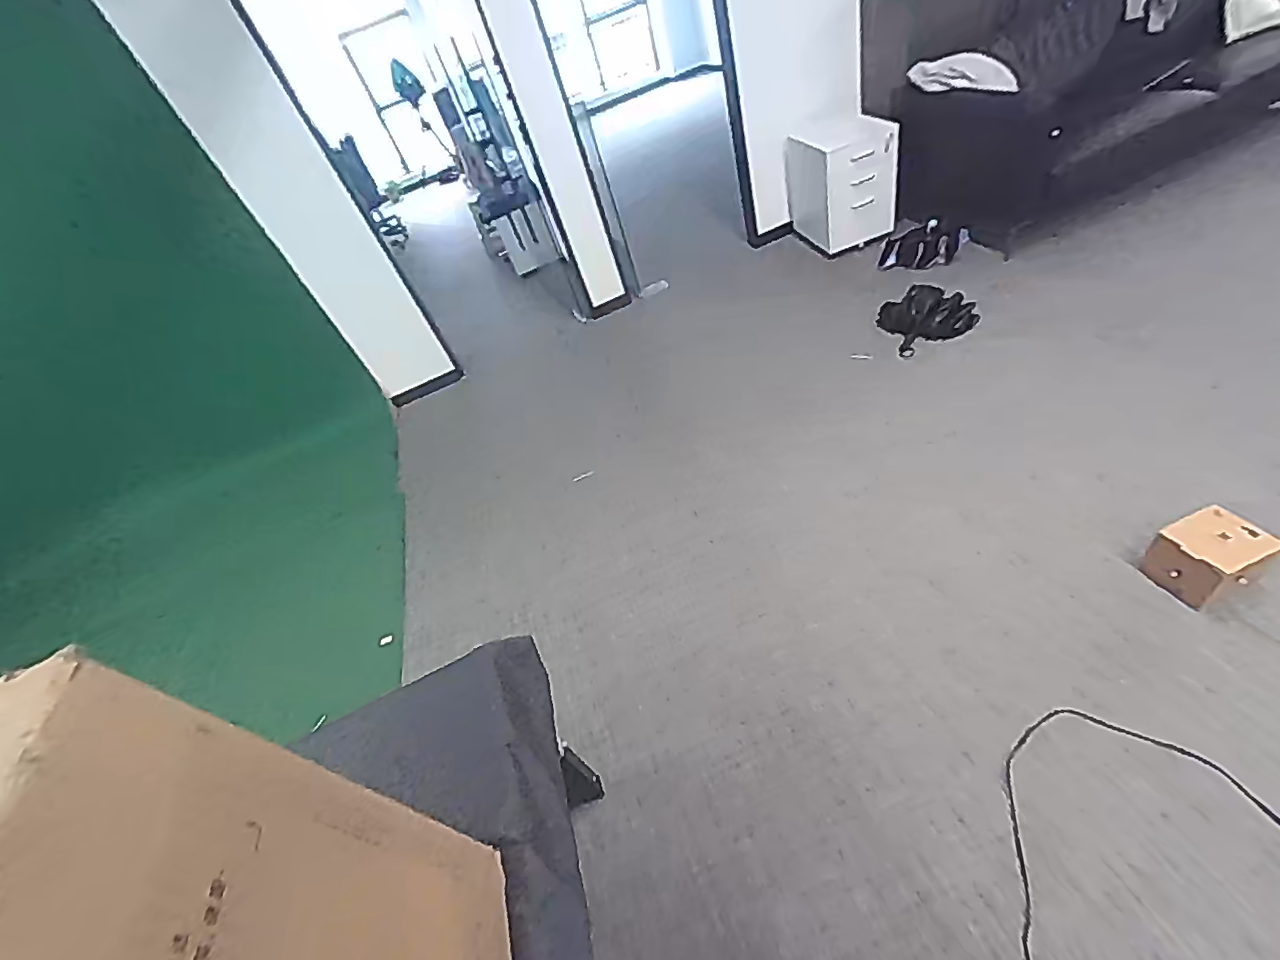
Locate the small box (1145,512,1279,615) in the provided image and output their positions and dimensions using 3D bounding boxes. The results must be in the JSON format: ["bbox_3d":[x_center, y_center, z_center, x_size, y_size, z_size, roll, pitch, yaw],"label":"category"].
[{"bbox_3d":[1.486,0.223,1.419,0.179,0.176,0.168,-25,40,-3],"label":"small box"}]
